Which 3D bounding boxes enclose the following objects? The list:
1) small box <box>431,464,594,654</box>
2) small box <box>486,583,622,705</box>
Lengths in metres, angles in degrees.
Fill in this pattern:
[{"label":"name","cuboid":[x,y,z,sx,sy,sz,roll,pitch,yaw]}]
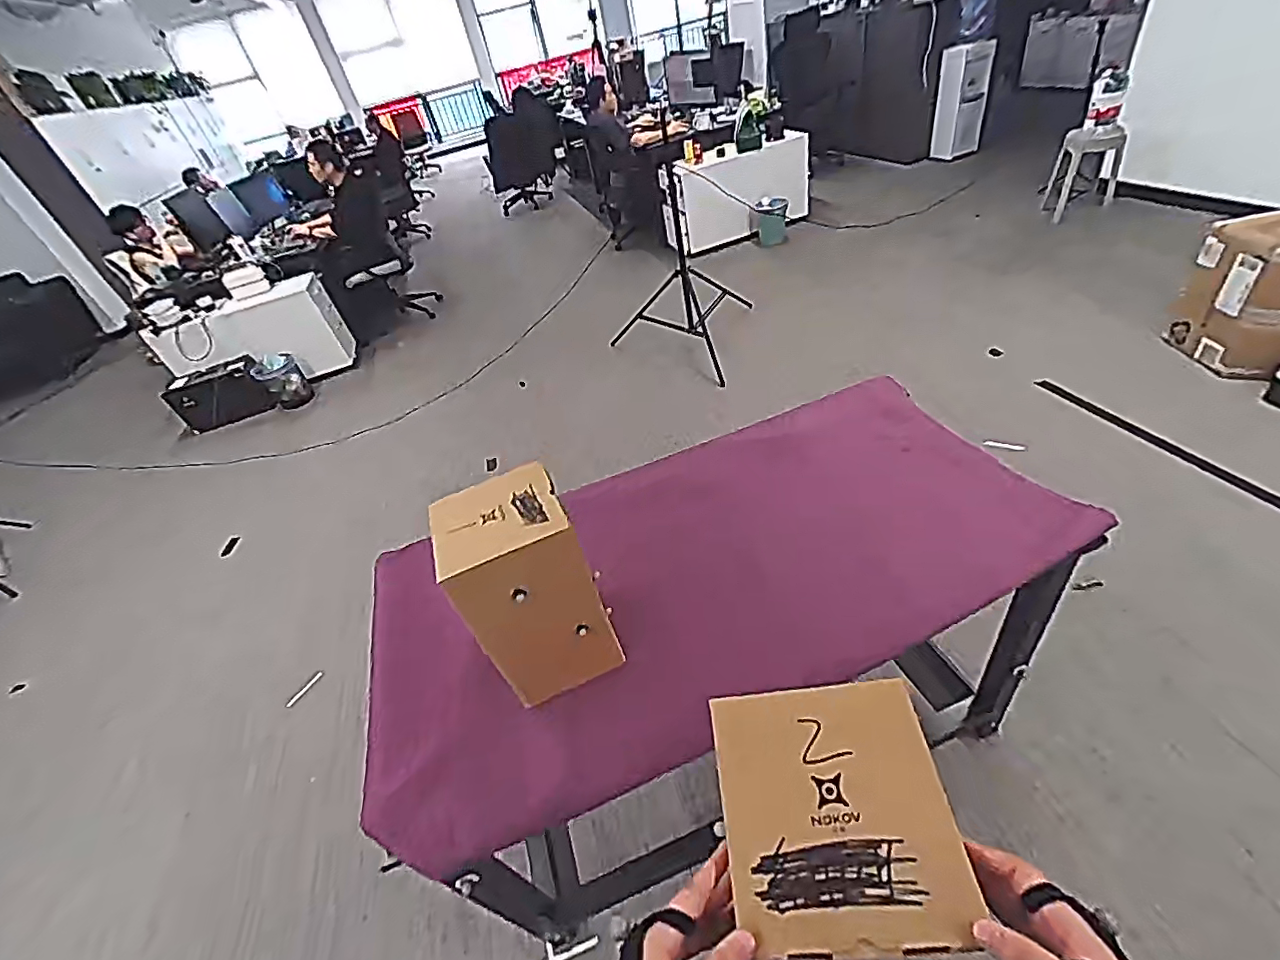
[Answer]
[{"label":"small box","cuboid":[-0.177,0.113,0.777,0.179,0.176,0.168,-23,40,-9]},{"label":"small box","cuboid":[-0.148,0.233,0.885,0.179,0.176,0.168,-22,40,-10]}]
